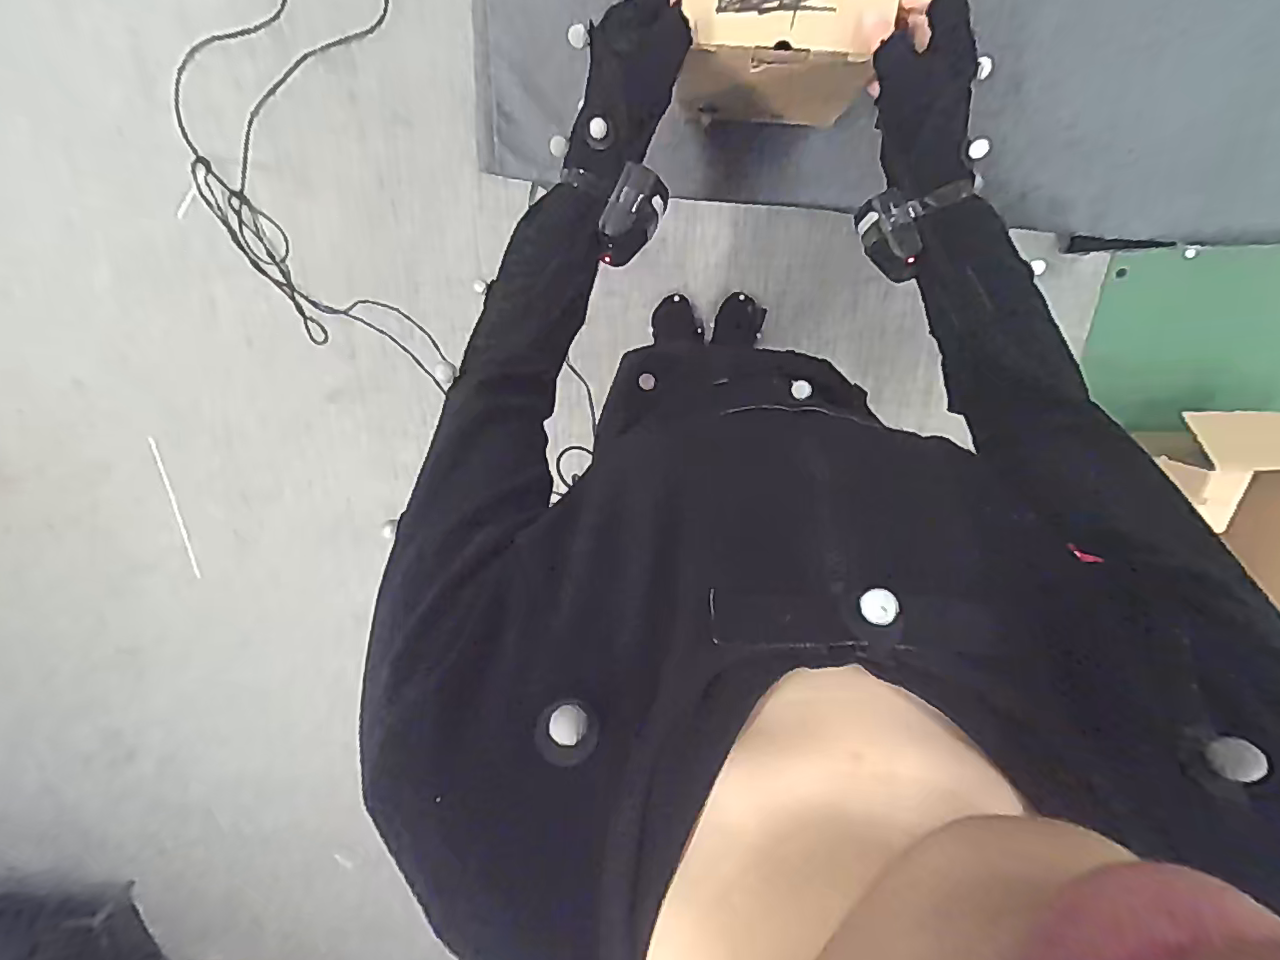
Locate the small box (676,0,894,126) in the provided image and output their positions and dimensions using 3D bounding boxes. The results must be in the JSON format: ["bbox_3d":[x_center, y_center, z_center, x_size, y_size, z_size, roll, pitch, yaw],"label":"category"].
[{"bbox_3d":[0.122,-0.437,0.476,0.168,0.176,0.179,5,107,2],"label":"small box"}]
